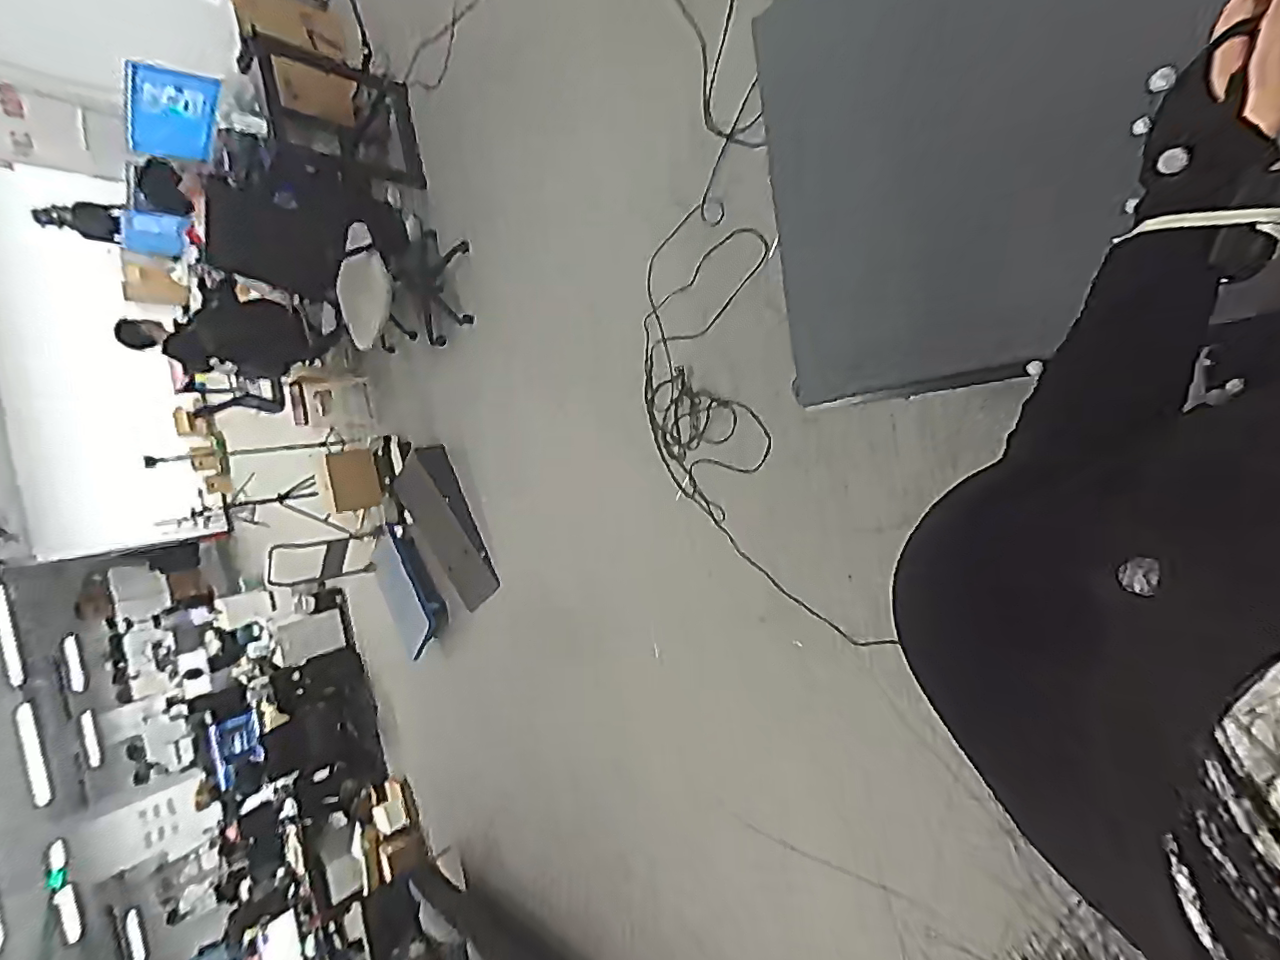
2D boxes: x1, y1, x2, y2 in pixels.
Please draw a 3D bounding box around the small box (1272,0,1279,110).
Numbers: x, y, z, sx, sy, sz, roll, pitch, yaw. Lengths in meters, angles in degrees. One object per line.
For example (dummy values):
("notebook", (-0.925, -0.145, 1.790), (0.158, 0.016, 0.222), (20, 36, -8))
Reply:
("small box", (0.564, -0.355, 0.366), (0.168, 0.176, 0.179), (-4, 94, 47))
